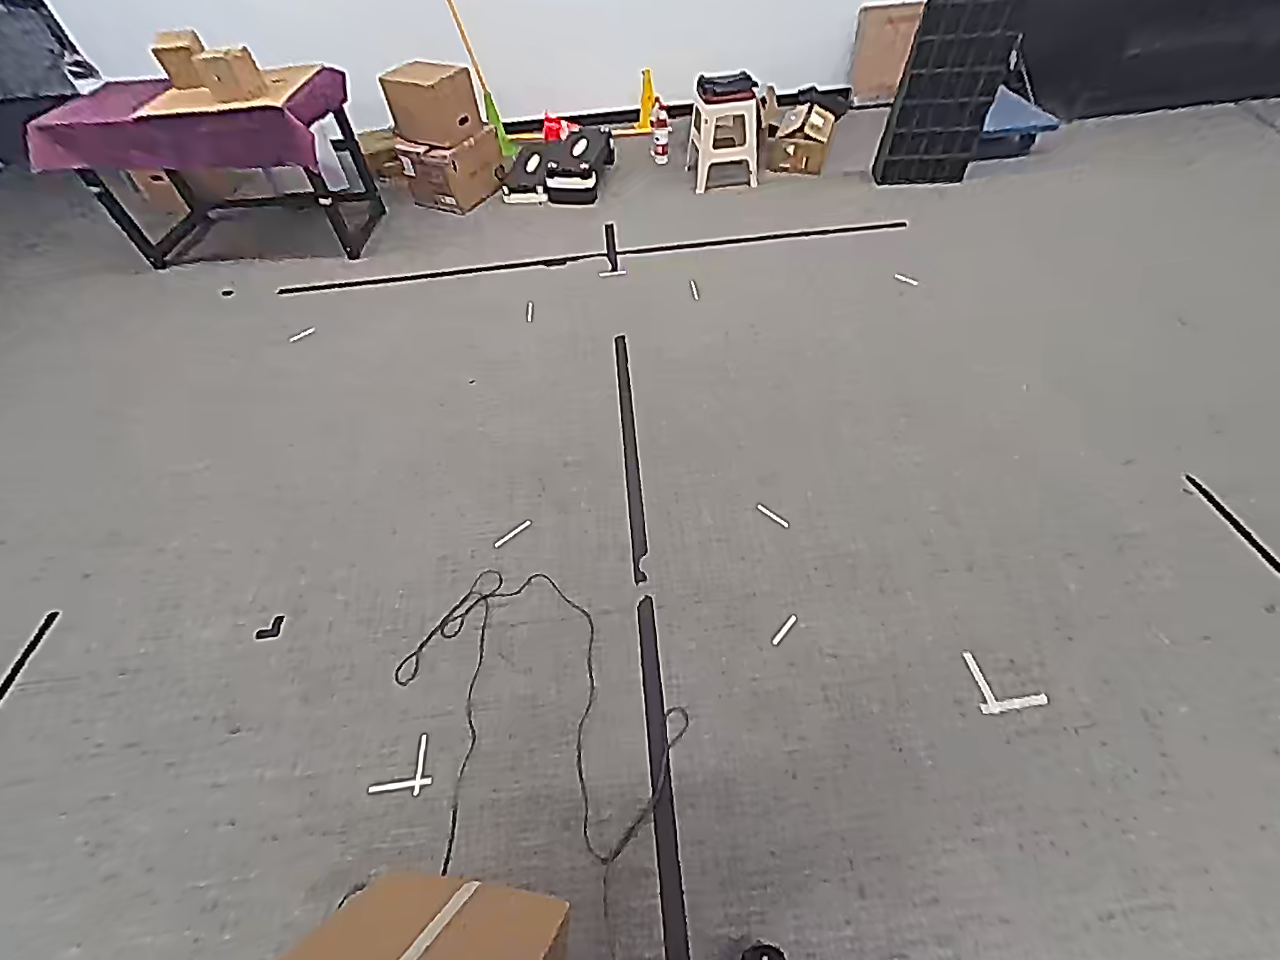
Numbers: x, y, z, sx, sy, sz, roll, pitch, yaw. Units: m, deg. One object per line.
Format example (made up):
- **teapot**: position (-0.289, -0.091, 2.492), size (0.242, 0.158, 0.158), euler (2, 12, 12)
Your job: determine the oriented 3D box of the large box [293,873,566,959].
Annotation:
- **large box**: position (-0.304, 0.767, 0.644), size (0.320, 0.408, 0.320), euler (1, 81, 11)
